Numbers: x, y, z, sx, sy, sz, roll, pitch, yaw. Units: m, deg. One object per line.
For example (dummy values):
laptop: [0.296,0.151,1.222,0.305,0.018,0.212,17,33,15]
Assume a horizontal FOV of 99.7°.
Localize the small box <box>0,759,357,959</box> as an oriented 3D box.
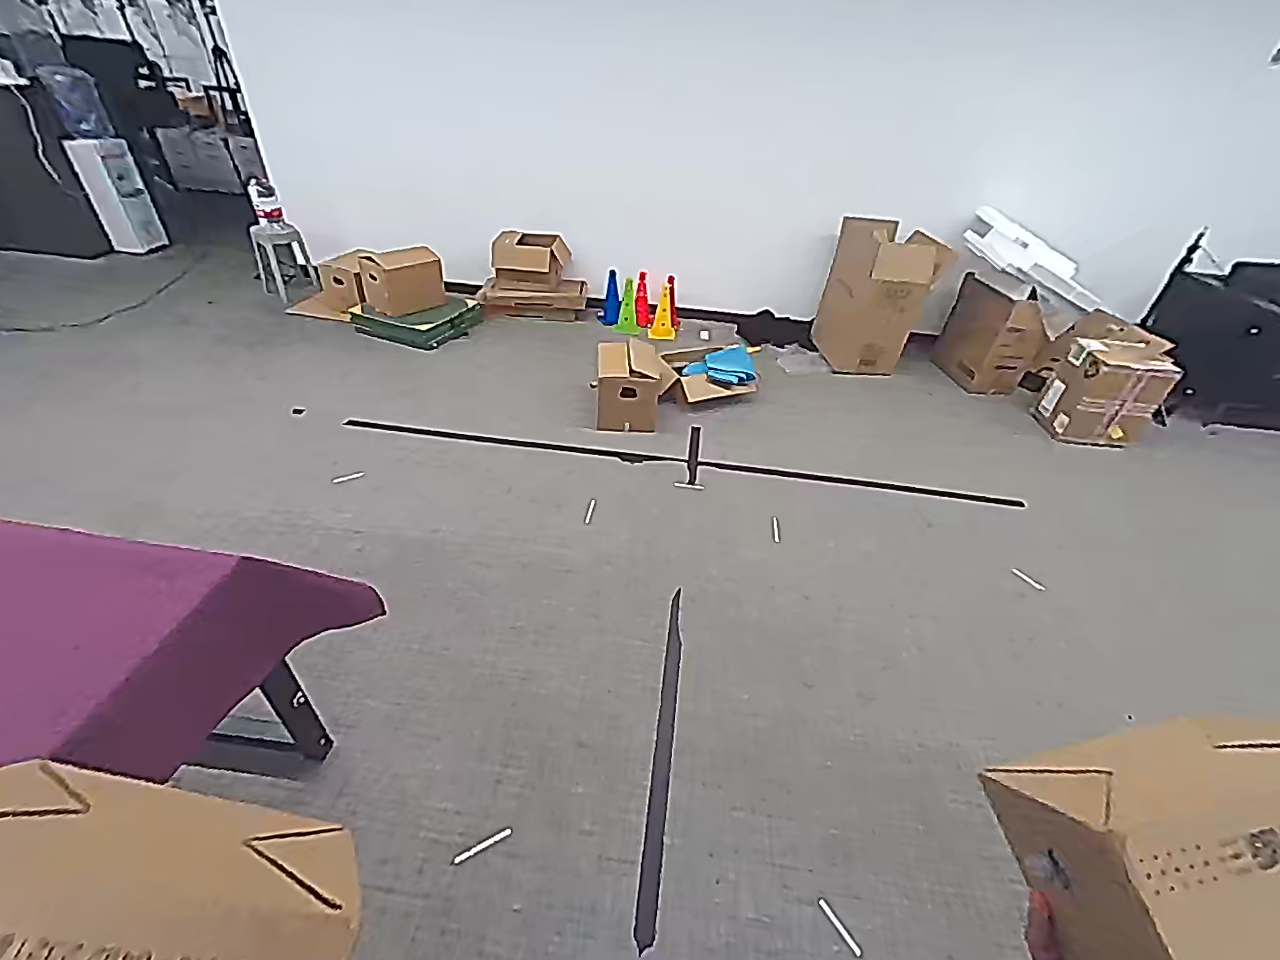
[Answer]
small box: [-0.233,0.221,0.214,0.168,0.179,0.176,24,59,-17]
